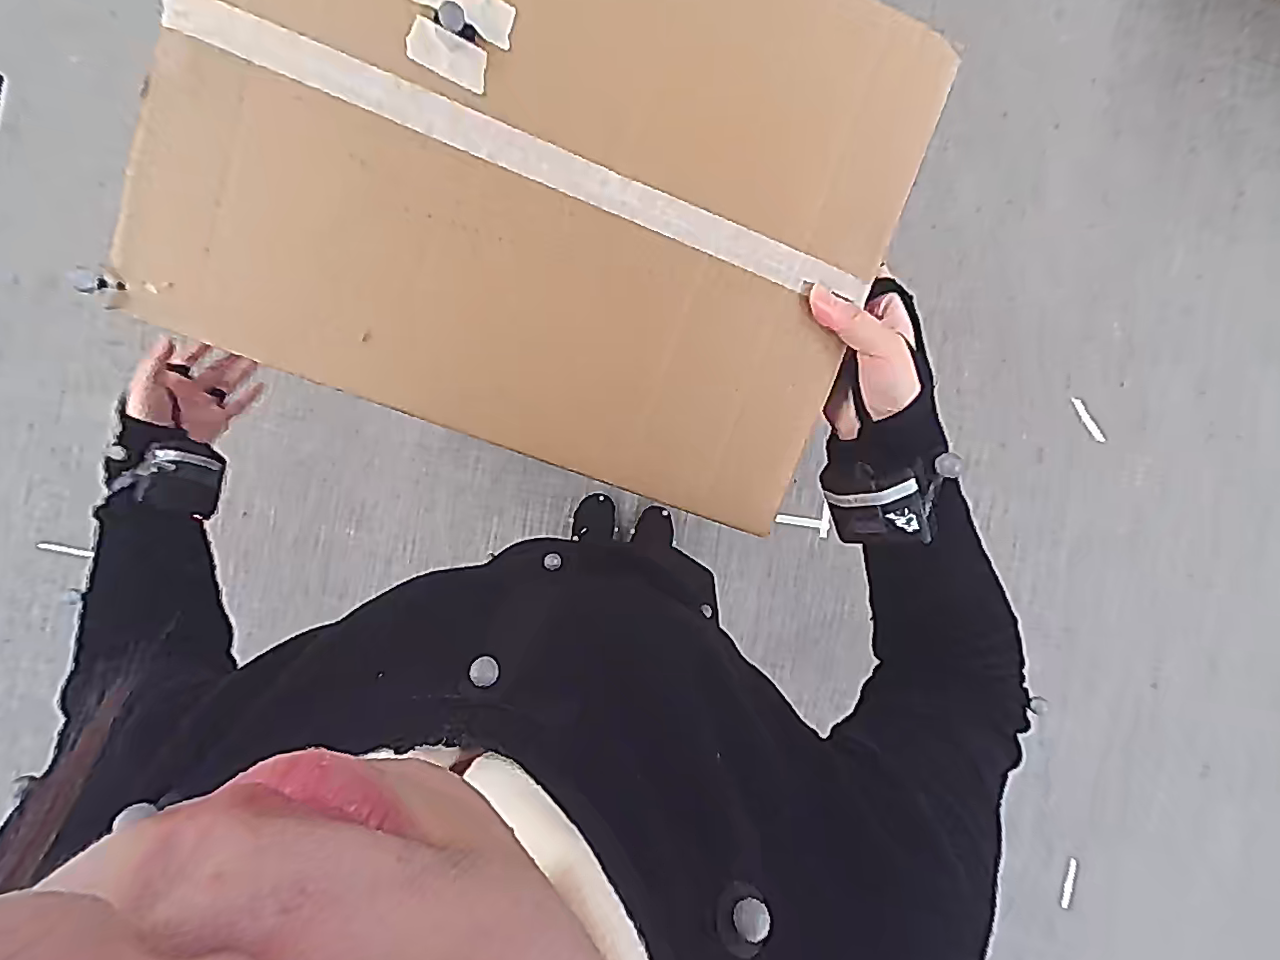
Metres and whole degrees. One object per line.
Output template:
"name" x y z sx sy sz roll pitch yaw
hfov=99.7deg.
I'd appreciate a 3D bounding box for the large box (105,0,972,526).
"large box" -0.061 -0.198 0.438 0.408 0.320 0.320 19 97 -8
